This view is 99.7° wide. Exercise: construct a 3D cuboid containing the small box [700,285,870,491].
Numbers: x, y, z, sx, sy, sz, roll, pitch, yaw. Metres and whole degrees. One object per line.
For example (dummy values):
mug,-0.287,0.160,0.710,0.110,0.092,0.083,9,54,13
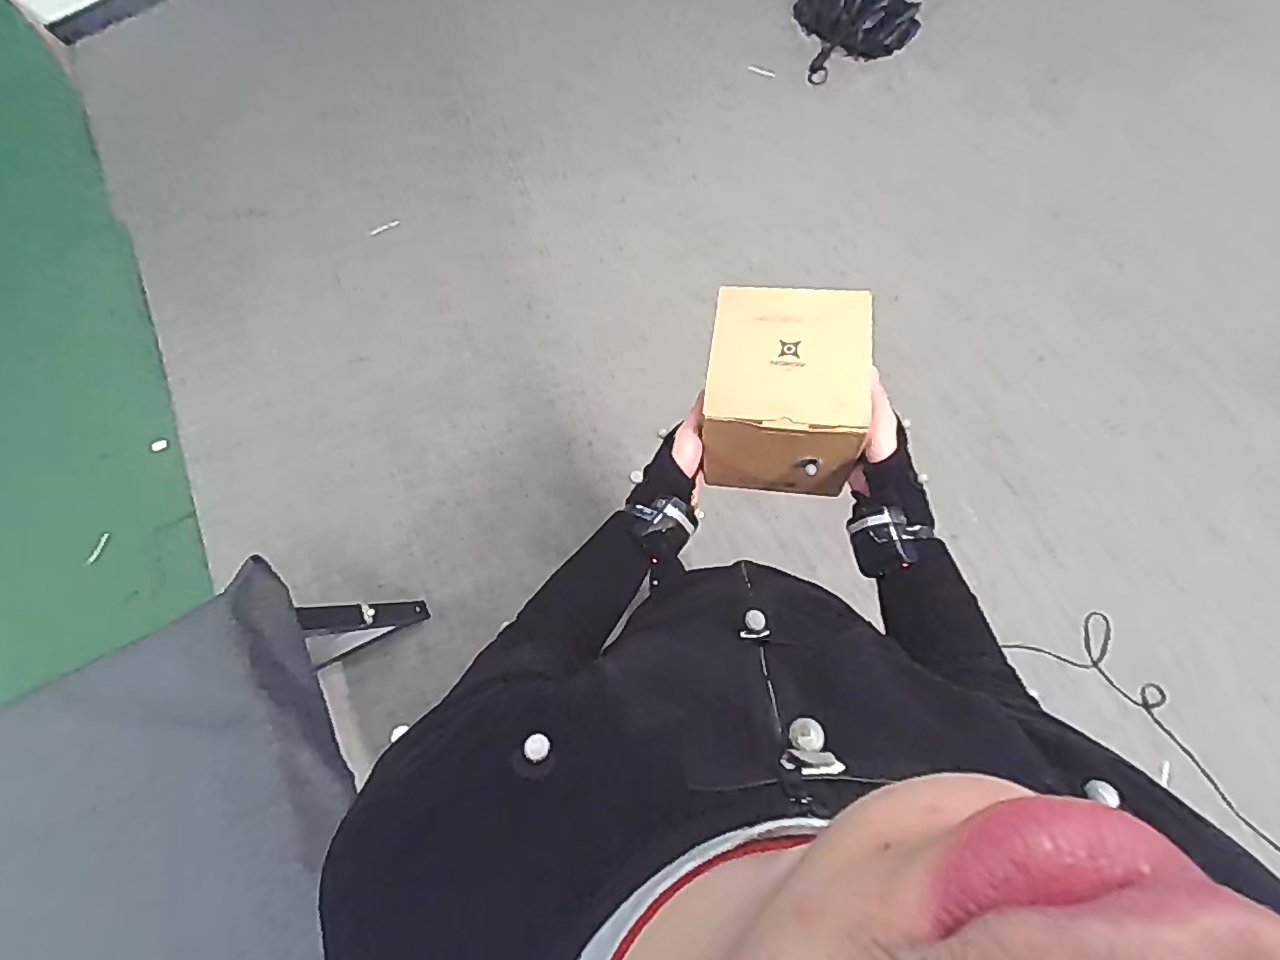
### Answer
small box,0.163,-0.100,0.635,0.168,0.176,0.179,6,65,9
